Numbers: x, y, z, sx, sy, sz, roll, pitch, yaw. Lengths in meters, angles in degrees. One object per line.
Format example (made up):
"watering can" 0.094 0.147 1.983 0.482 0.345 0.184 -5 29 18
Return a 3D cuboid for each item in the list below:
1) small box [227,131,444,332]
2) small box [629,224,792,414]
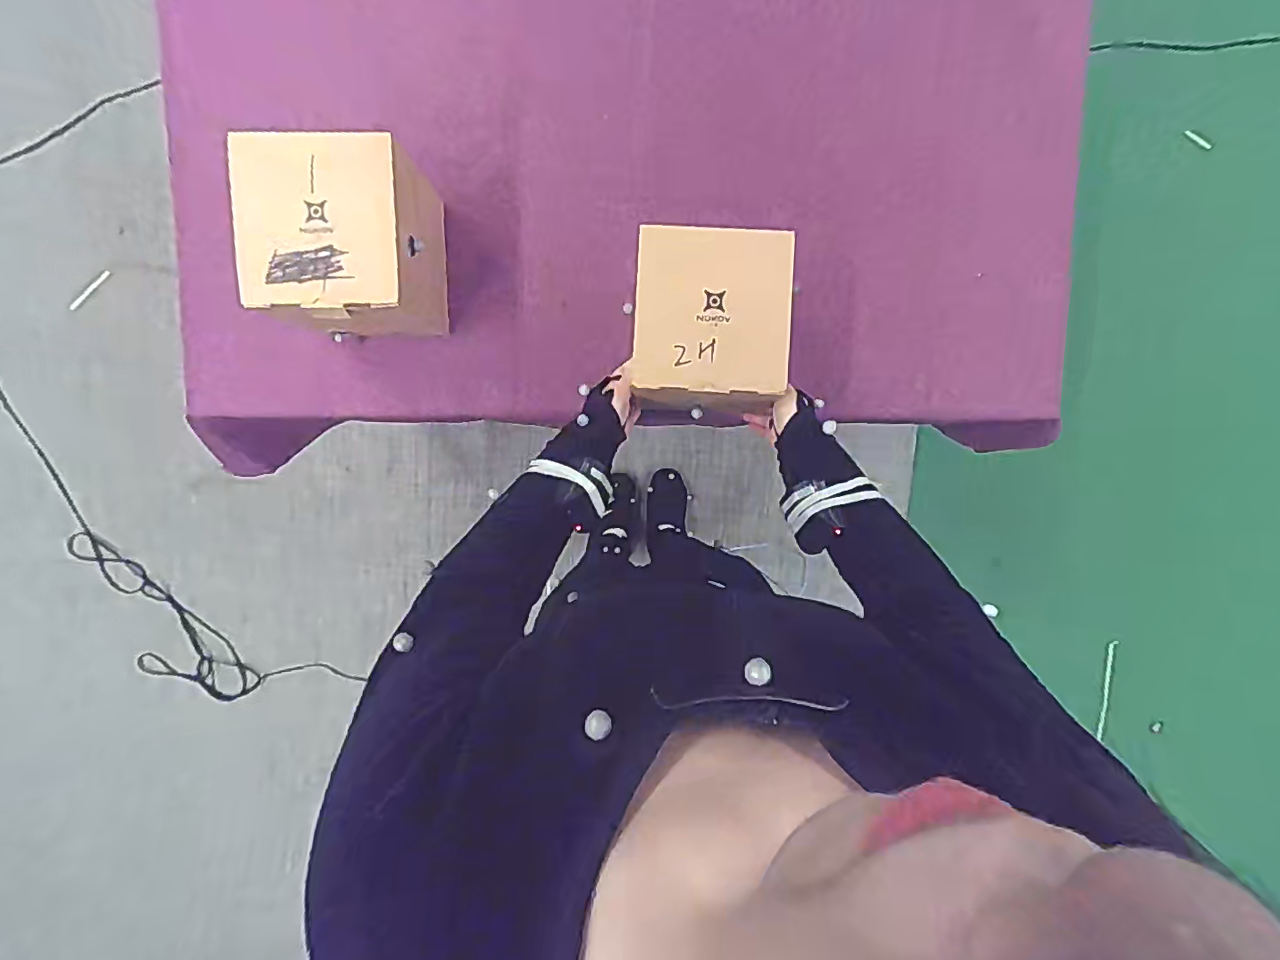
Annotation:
"small box" -0.339 -0.275 0.637 0.168 0.176 0.179 -1 94 -2
"small box" 0.075 -0.180 0.650 0.168 0.176 0.179 3 91 1
